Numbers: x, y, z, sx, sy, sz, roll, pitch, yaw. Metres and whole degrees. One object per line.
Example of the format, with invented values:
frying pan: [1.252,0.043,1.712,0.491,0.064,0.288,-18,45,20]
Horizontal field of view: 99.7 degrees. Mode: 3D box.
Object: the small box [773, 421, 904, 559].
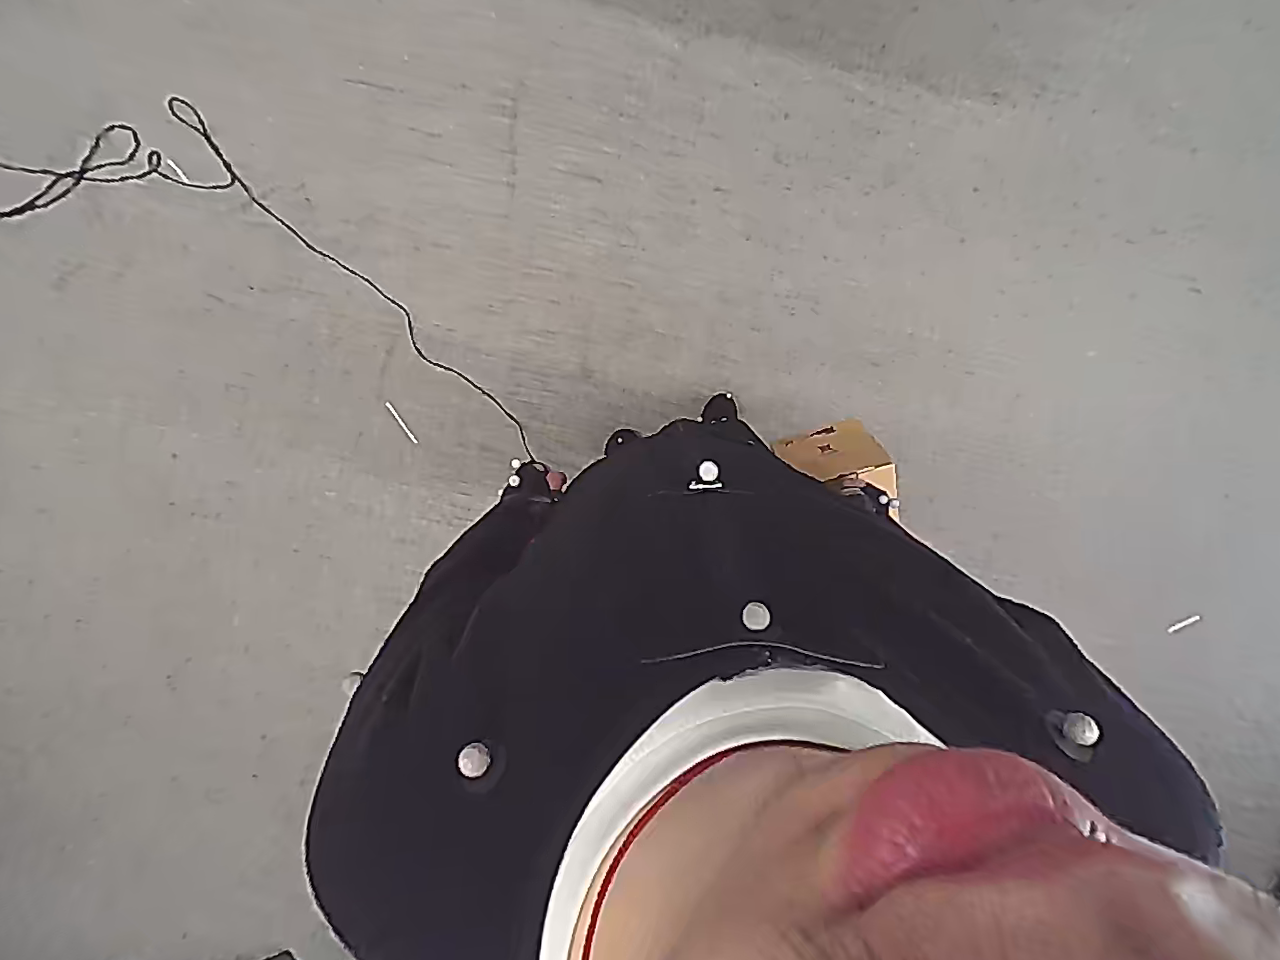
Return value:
small box: [0.358,0.023,0.981,0.168,0.179,0.176,-18,119,7]
